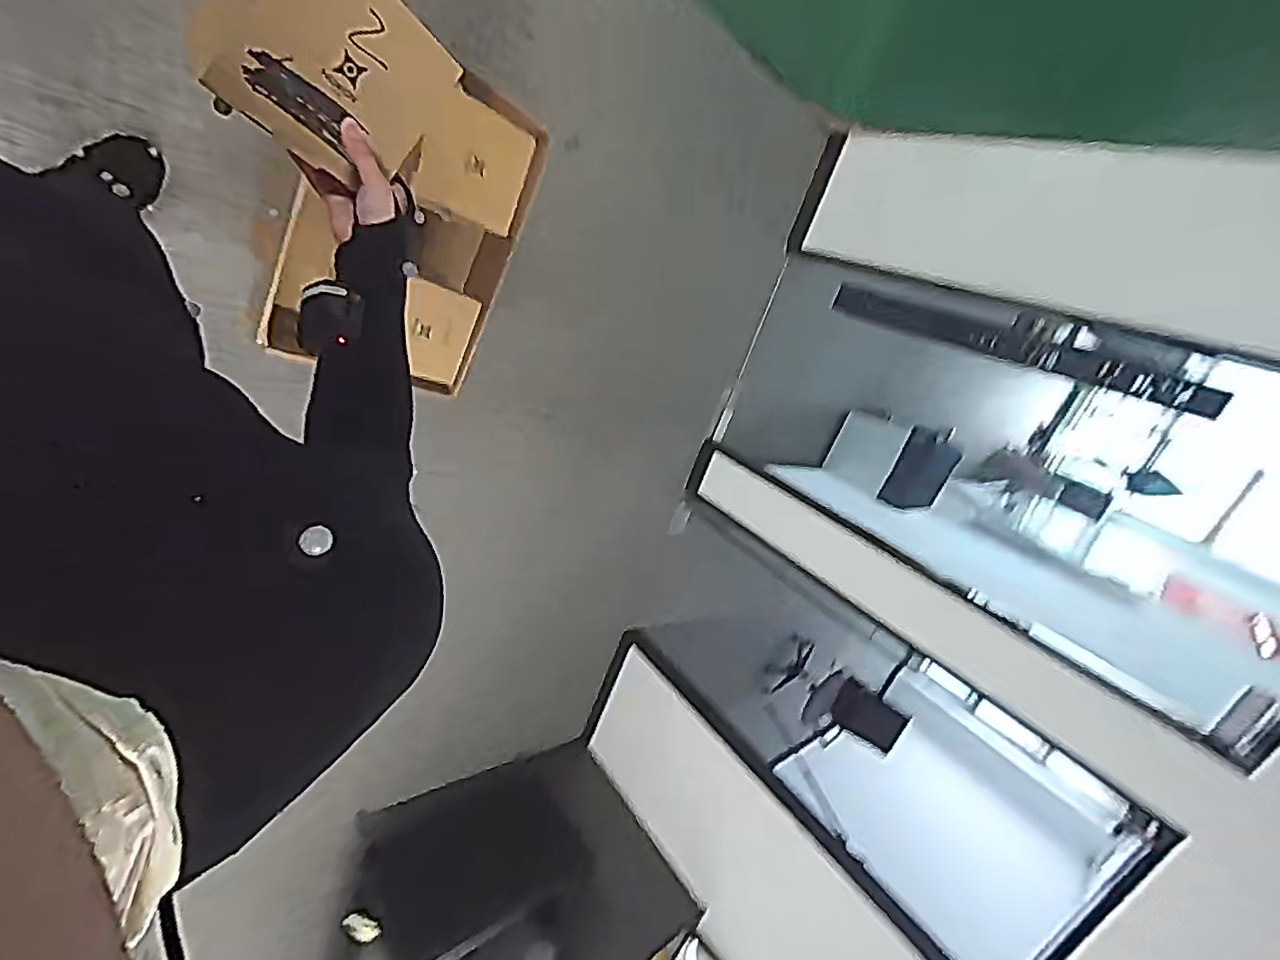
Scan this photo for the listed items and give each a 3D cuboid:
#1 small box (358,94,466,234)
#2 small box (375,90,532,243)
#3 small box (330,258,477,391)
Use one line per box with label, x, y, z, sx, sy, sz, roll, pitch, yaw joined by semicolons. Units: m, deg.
small box;-0.417;-0.608;1.038;0.168;0.176;0.179;9;112;-47
small box;-0.322;-0.536;0.926;0.179;0.176;0.168;8;112;-47
small box;-0.439;-0.287;0.991;0.179;0.176;0.168;11;110;-49
